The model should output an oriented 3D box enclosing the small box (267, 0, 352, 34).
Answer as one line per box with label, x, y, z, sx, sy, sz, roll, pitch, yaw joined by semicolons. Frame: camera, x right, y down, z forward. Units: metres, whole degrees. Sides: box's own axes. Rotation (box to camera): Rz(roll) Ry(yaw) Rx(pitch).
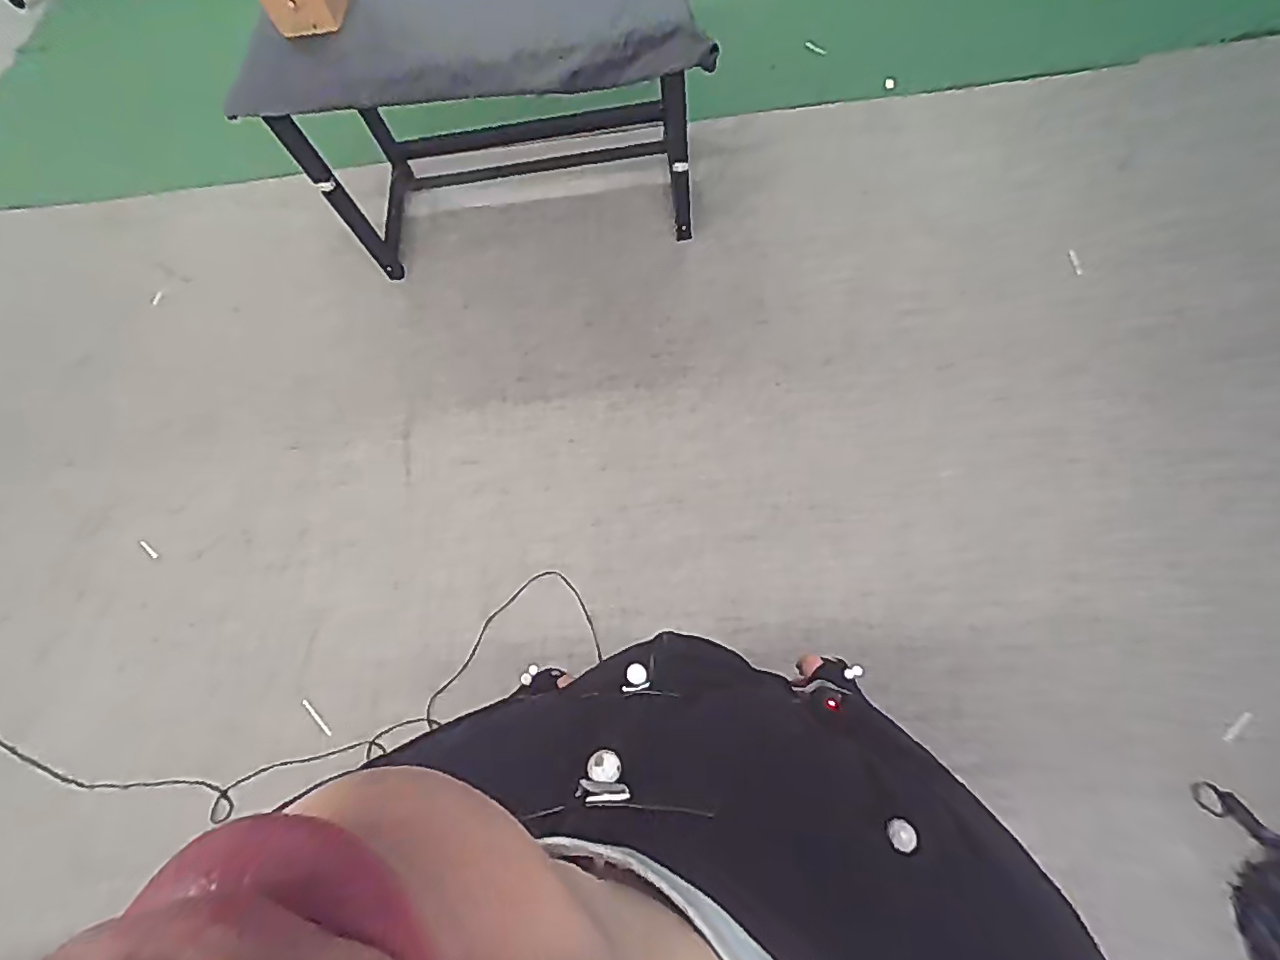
small box;-0.904;-1.341;1.453;0.168;0.176;0.179;-3;70;5
